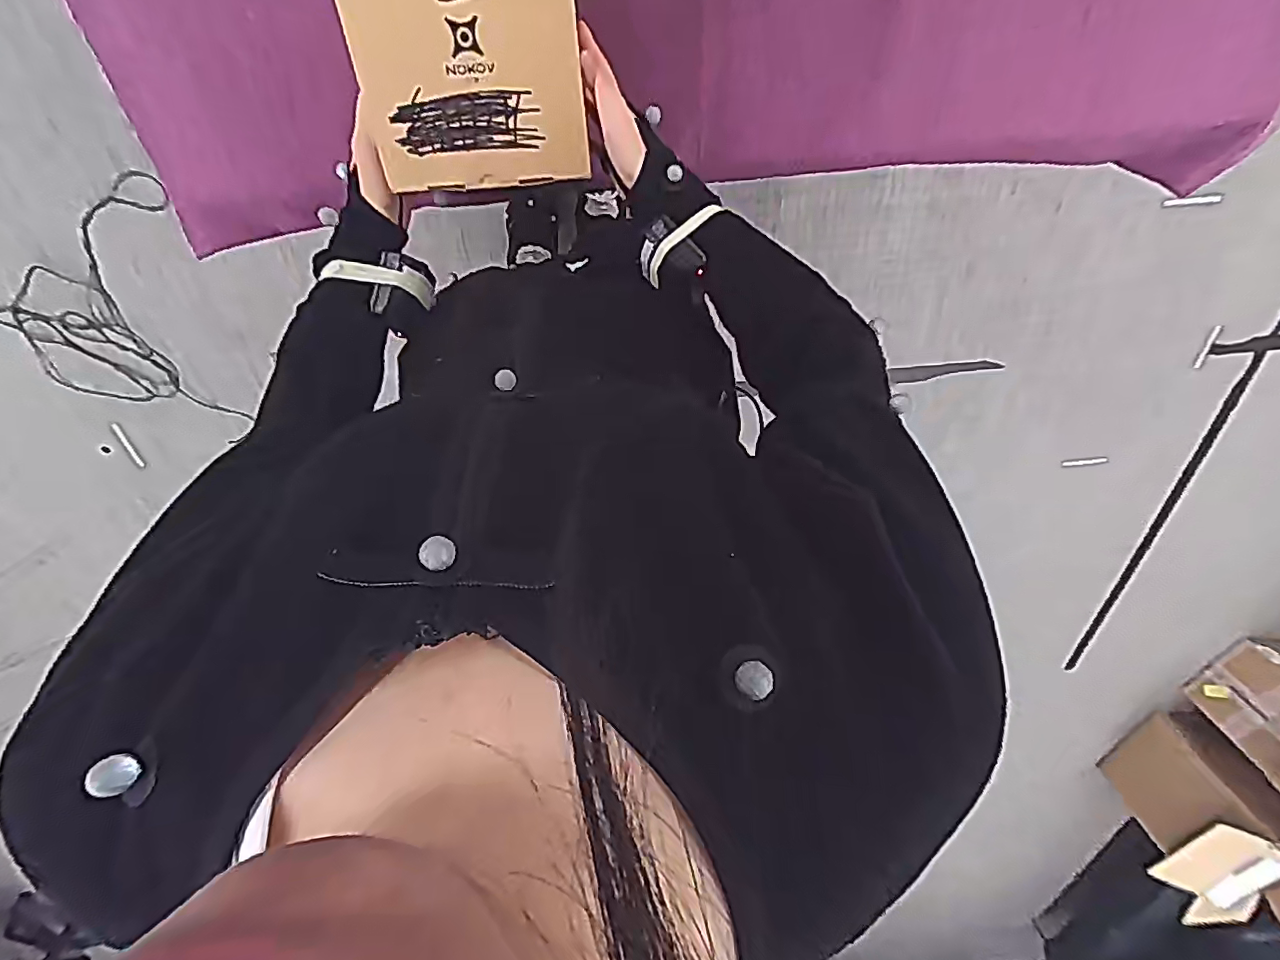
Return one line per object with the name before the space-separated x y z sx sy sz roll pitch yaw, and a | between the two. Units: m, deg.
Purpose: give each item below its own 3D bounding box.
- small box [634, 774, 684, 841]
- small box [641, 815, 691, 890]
small box | 0.076 1.274 2.112 0.179 0.176 0.168 -7 123 -1
small box | 0.094 1.356 1.972 0.168 0.176 0.179 -6 122 -2
